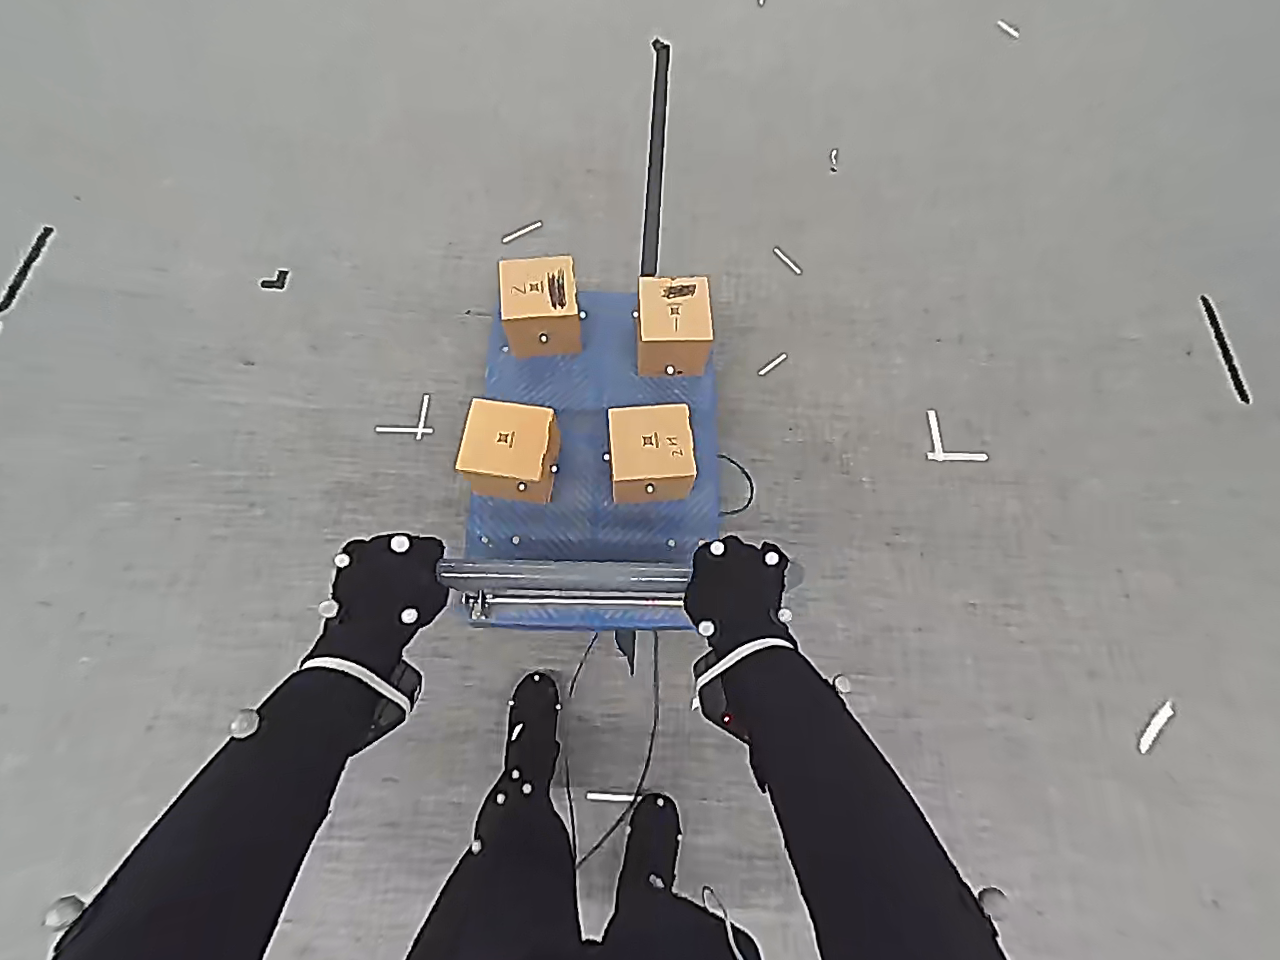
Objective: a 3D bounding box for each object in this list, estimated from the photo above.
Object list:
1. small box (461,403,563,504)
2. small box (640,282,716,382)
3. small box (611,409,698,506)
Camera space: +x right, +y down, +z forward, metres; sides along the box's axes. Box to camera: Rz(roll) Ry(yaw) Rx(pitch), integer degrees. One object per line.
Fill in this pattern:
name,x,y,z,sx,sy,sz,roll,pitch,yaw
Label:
small box,-0.276,-0.053,1.208,0.179,0.176,0.168,8,70,-1
small box,0.087,-0.361,1.331,0.168,0.176,0.179,-1,72,-3
small box,0.028,-0.045,1.217,0.179,0.176,0.168,-4,71,-4
